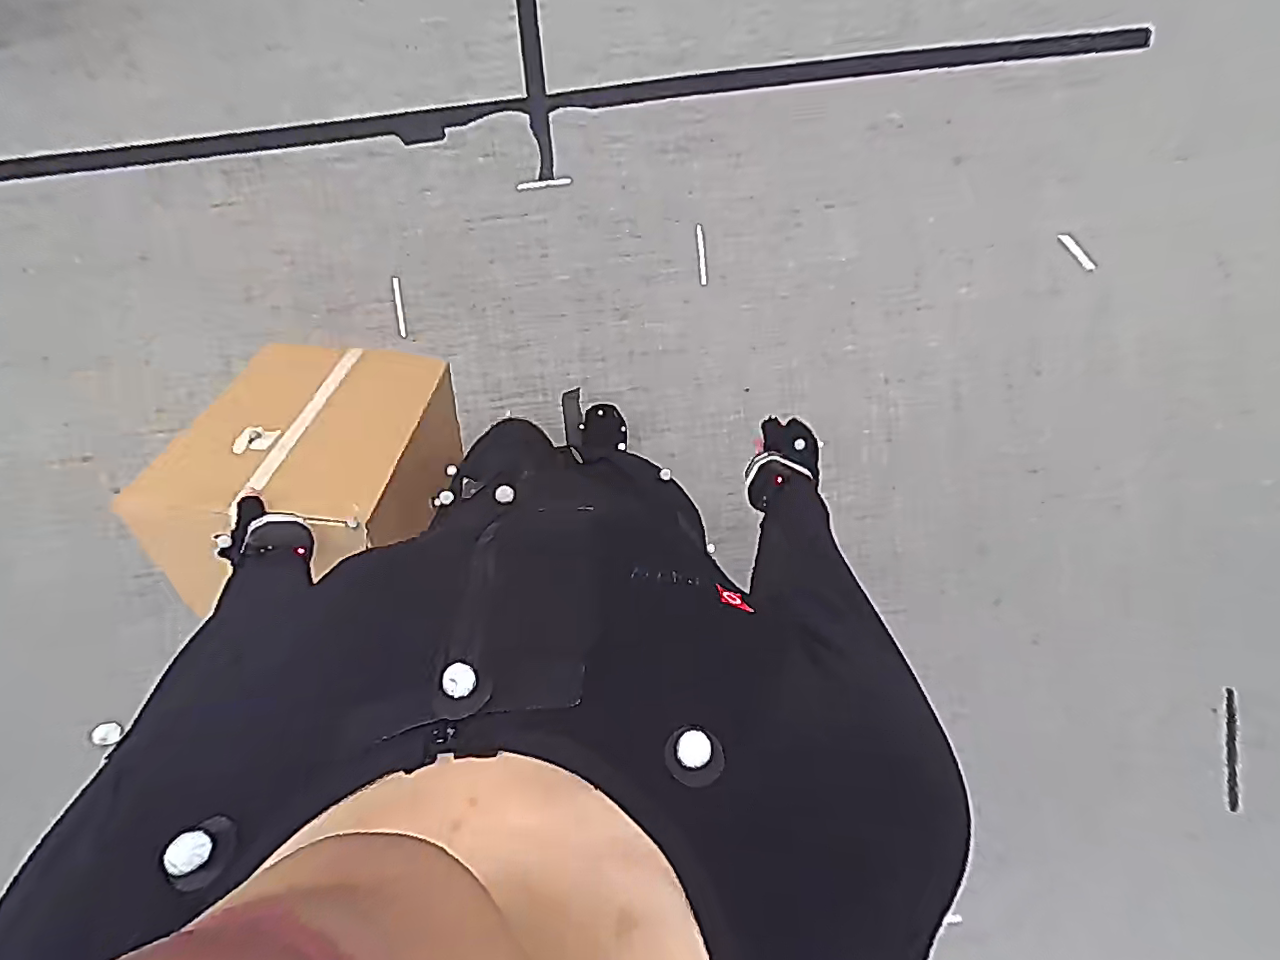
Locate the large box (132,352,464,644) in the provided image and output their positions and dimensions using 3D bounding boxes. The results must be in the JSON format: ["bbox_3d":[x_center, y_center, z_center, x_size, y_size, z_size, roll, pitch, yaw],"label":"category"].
[{"bbox_3d":[-0.519,0.024,0.946,0.320,0.408,0.320,4,133,-3],"label":"large box"}]
